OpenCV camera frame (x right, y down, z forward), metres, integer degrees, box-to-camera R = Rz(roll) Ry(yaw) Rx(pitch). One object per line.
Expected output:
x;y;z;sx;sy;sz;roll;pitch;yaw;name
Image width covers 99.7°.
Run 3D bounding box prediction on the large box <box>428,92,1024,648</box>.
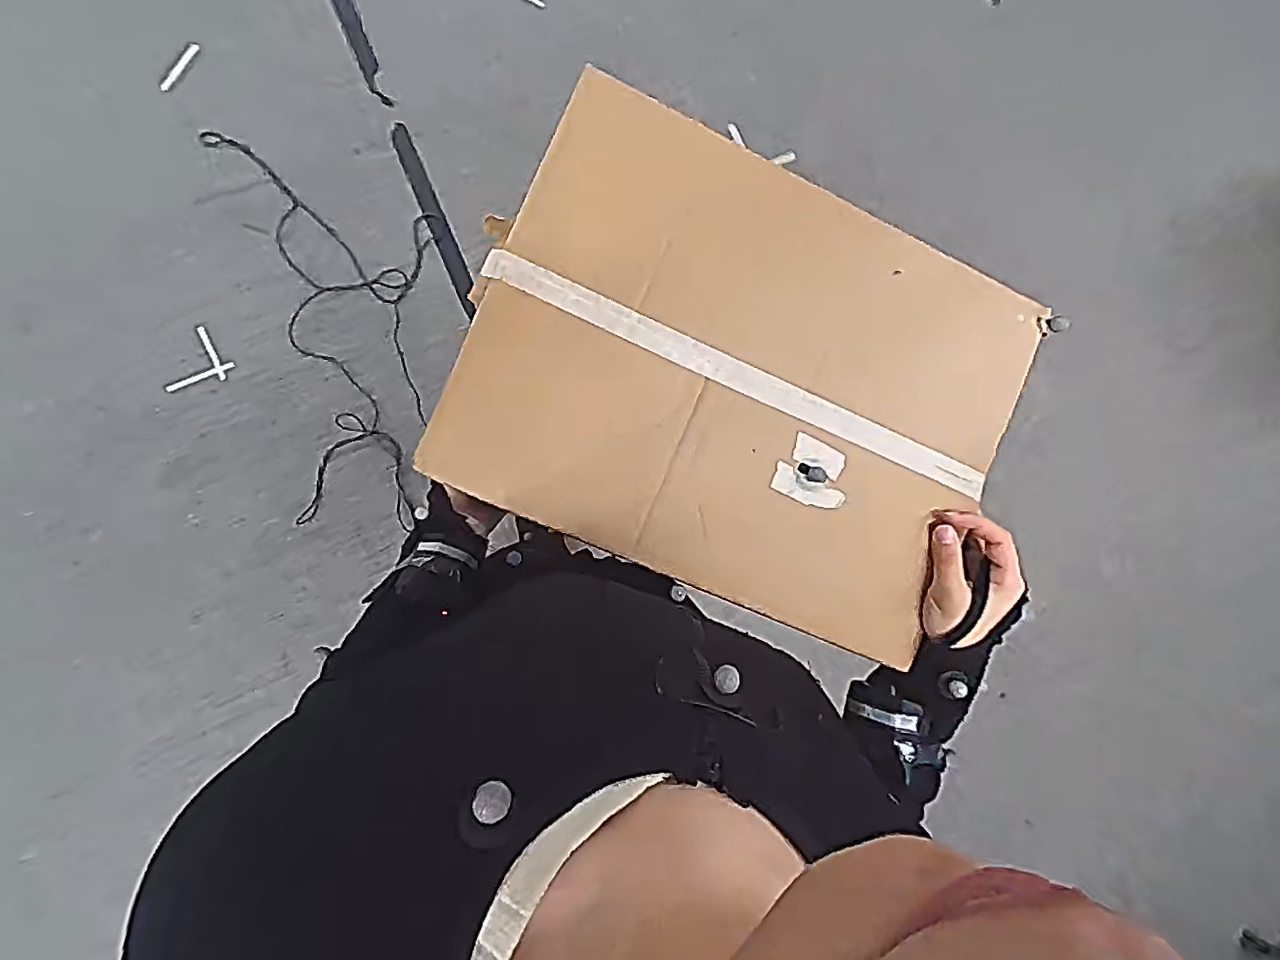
0.060;-0.076;0.559;0.408;0.320;0.320;22;89;-8;large box
